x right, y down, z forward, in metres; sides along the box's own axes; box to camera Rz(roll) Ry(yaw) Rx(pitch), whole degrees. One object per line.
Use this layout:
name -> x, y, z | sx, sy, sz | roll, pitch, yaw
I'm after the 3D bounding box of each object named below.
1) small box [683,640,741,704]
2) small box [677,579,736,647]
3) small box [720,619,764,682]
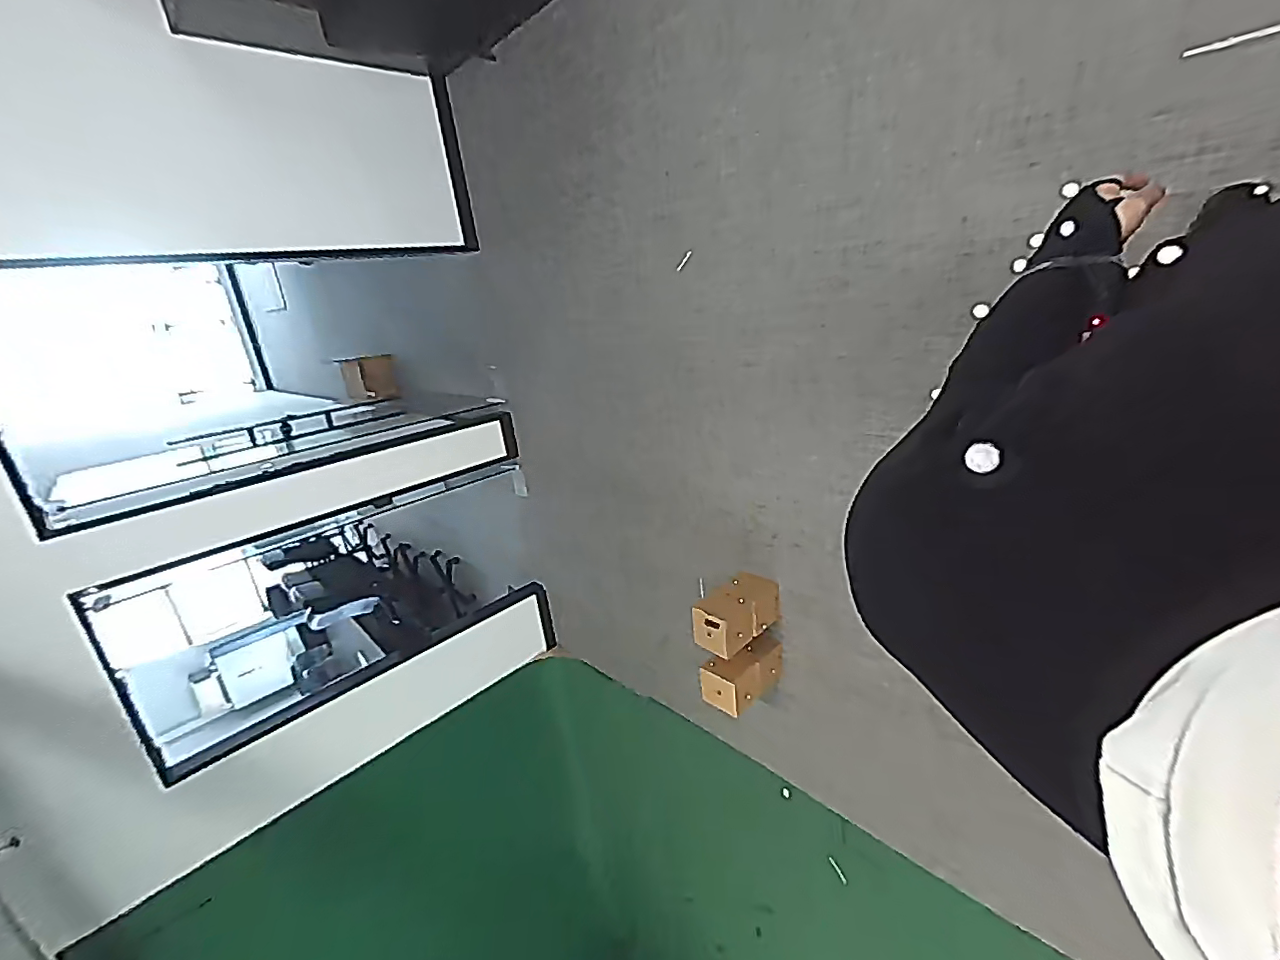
small box -> 0.303, 0.769, 2.213 | 0.179, 0.176, 0.168 | 13, 118, 44
small box -> 0.263, 0.515, 2.129 | 0.168, 0.176, 0.179 | 18, 122, 43
small box -> 0.416, 0.720, 2.318 | 0.179, 0.176, 0.168 | 16, 119, 42
